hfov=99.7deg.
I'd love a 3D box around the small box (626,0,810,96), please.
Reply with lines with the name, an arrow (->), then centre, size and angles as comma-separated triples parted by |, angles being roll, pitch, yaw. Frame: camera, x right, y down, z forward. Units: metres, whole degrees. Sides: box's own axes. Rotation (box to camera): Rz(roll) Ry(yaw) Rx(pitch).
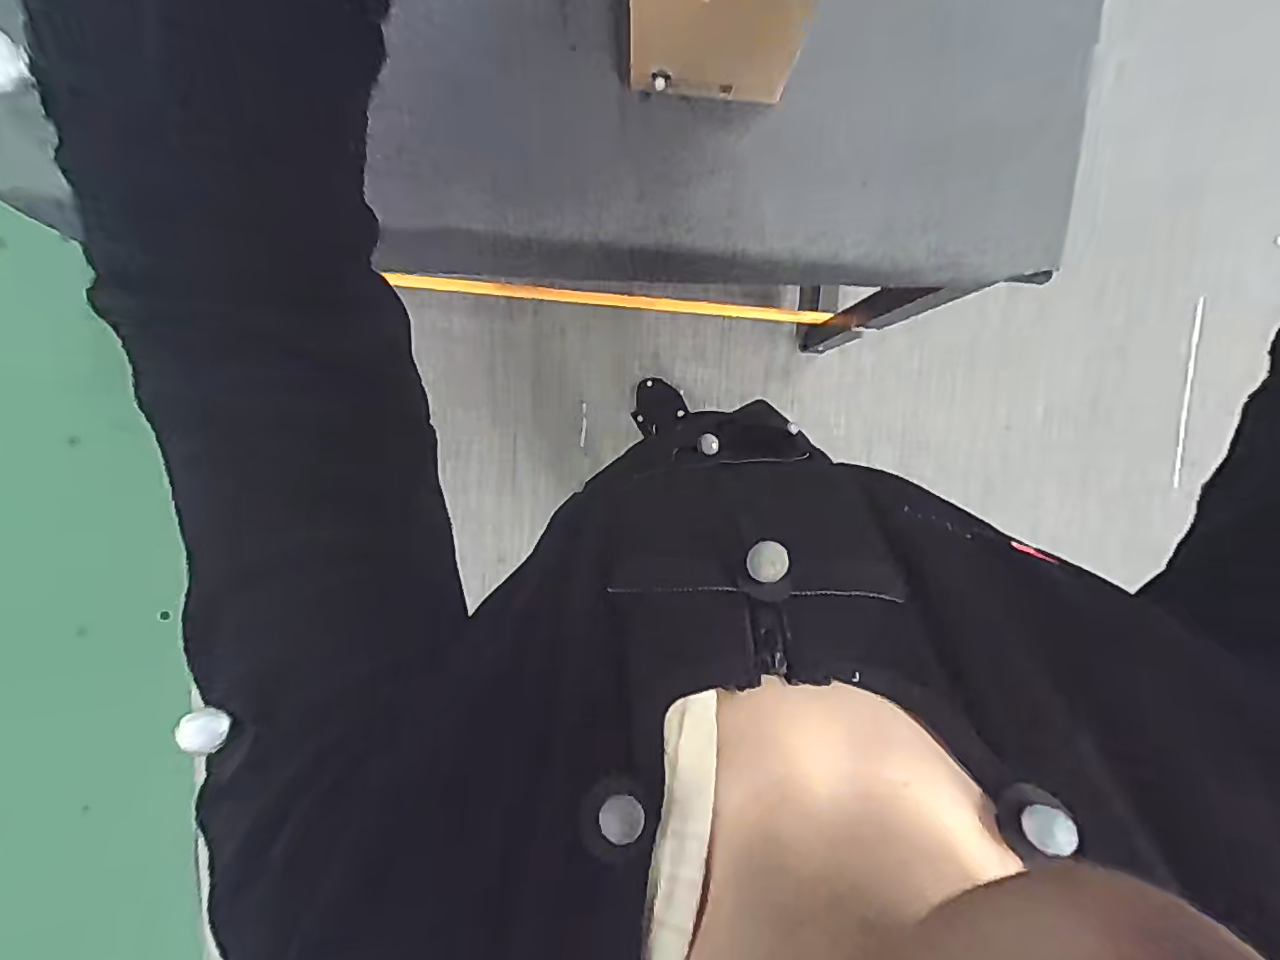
small box -> 0.076, -0.502, 0.507 | 0.168, 0.176, 0.179 | 5, 95, -1
